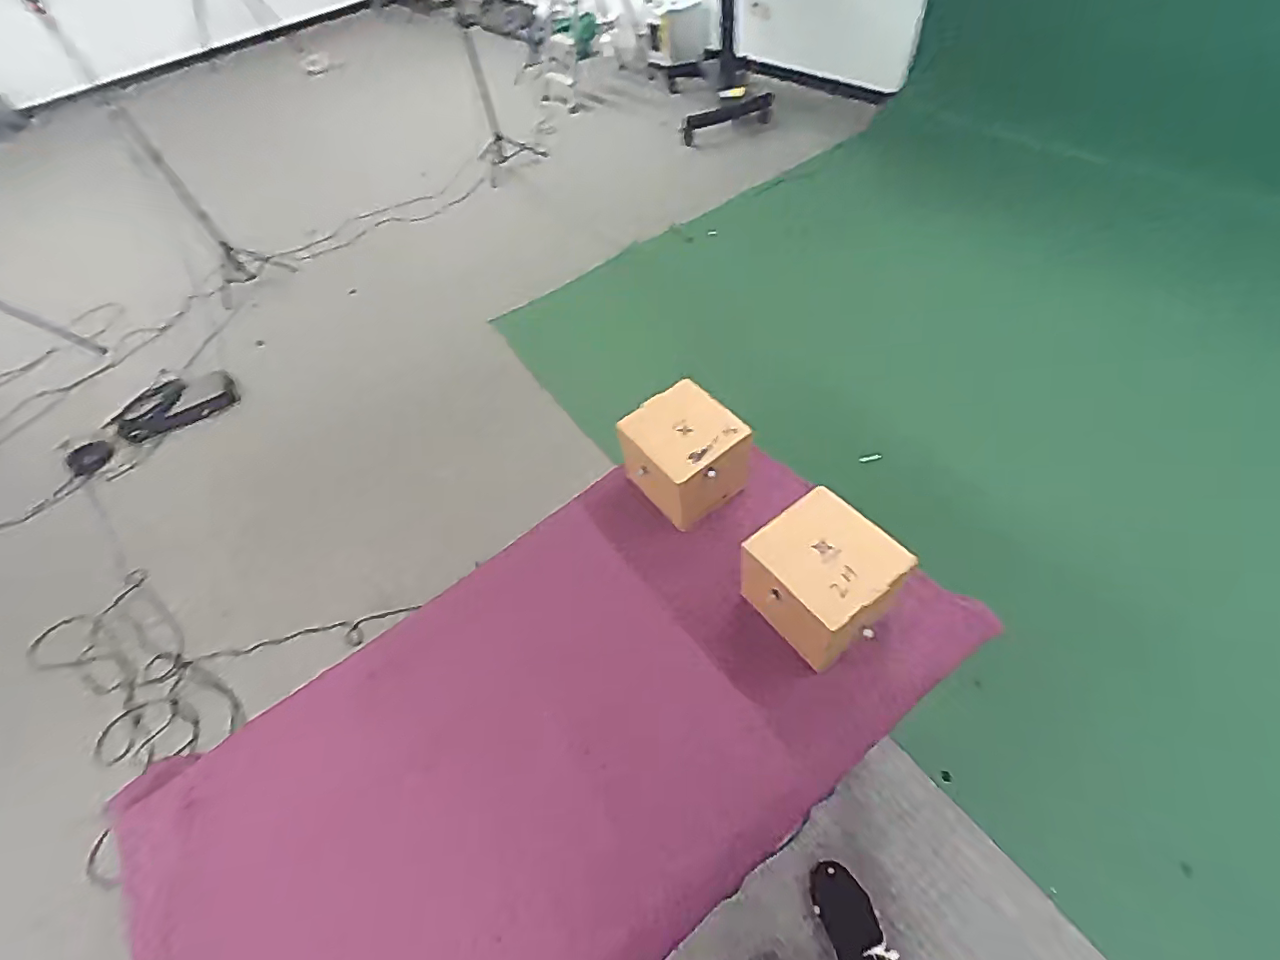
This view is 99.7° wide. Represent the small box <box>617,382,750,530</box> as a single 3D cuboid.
[{"bbox_3d":[0.081,-0.041,0.999,0.168,0.176,0.179,-35,58,-15],"label":"small box"}]

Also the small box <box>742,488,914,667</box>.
[{"bbox_3d":[0.272,0.152,0.827,0.168,0.176,0.179,-34,55,-14],"label":"small box"}]
